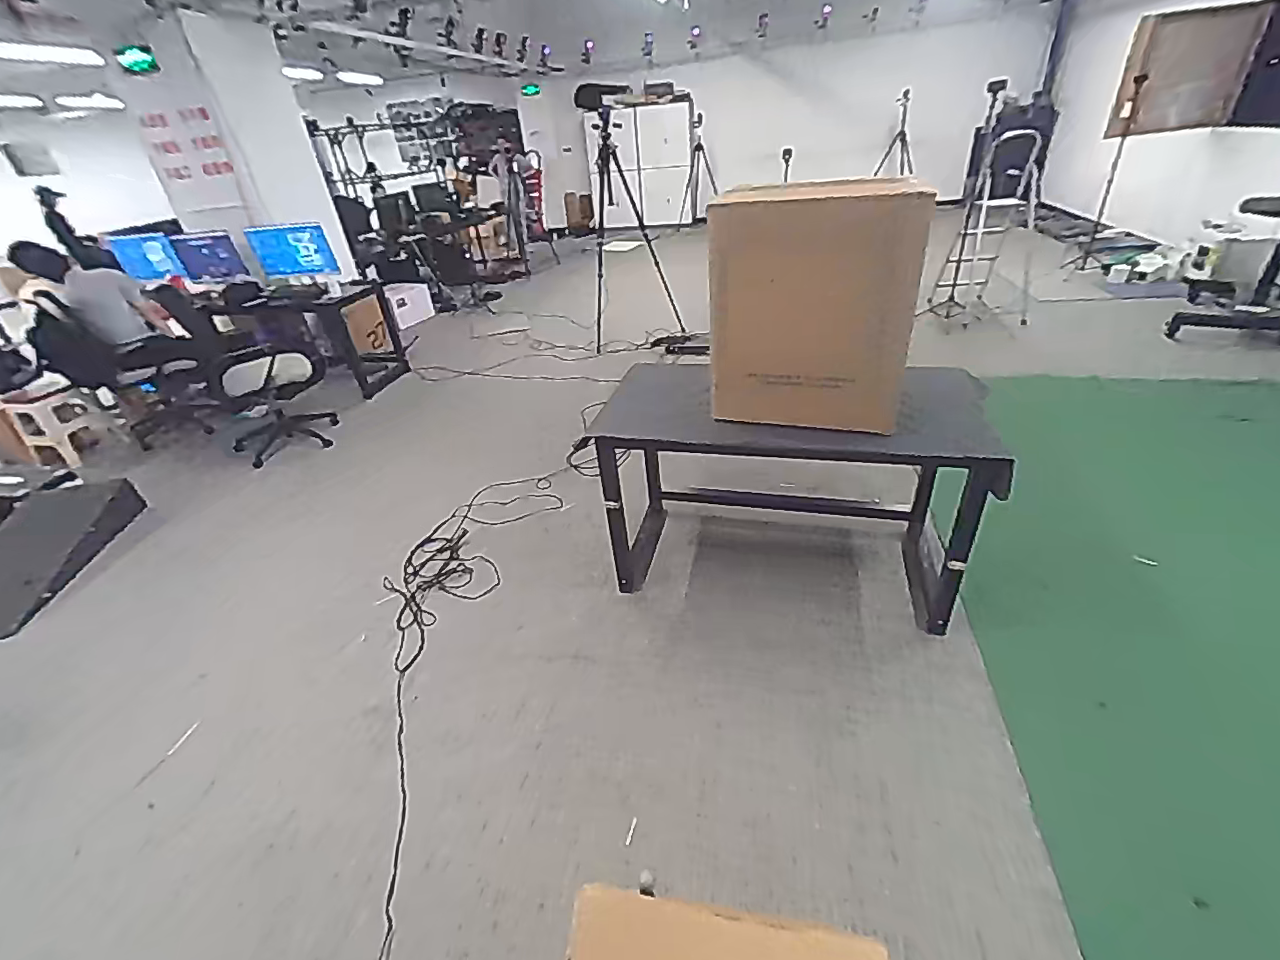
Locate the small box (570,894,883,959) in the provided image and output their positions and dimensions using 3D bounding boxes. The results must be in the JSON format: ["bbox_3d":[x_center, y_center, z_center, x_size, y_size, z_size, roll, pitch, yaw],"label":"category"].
[{"bbox_3d":[0.040,0.363,0.325,0.179,0.176,0.168,6,52,4],"label":"small box"}]
